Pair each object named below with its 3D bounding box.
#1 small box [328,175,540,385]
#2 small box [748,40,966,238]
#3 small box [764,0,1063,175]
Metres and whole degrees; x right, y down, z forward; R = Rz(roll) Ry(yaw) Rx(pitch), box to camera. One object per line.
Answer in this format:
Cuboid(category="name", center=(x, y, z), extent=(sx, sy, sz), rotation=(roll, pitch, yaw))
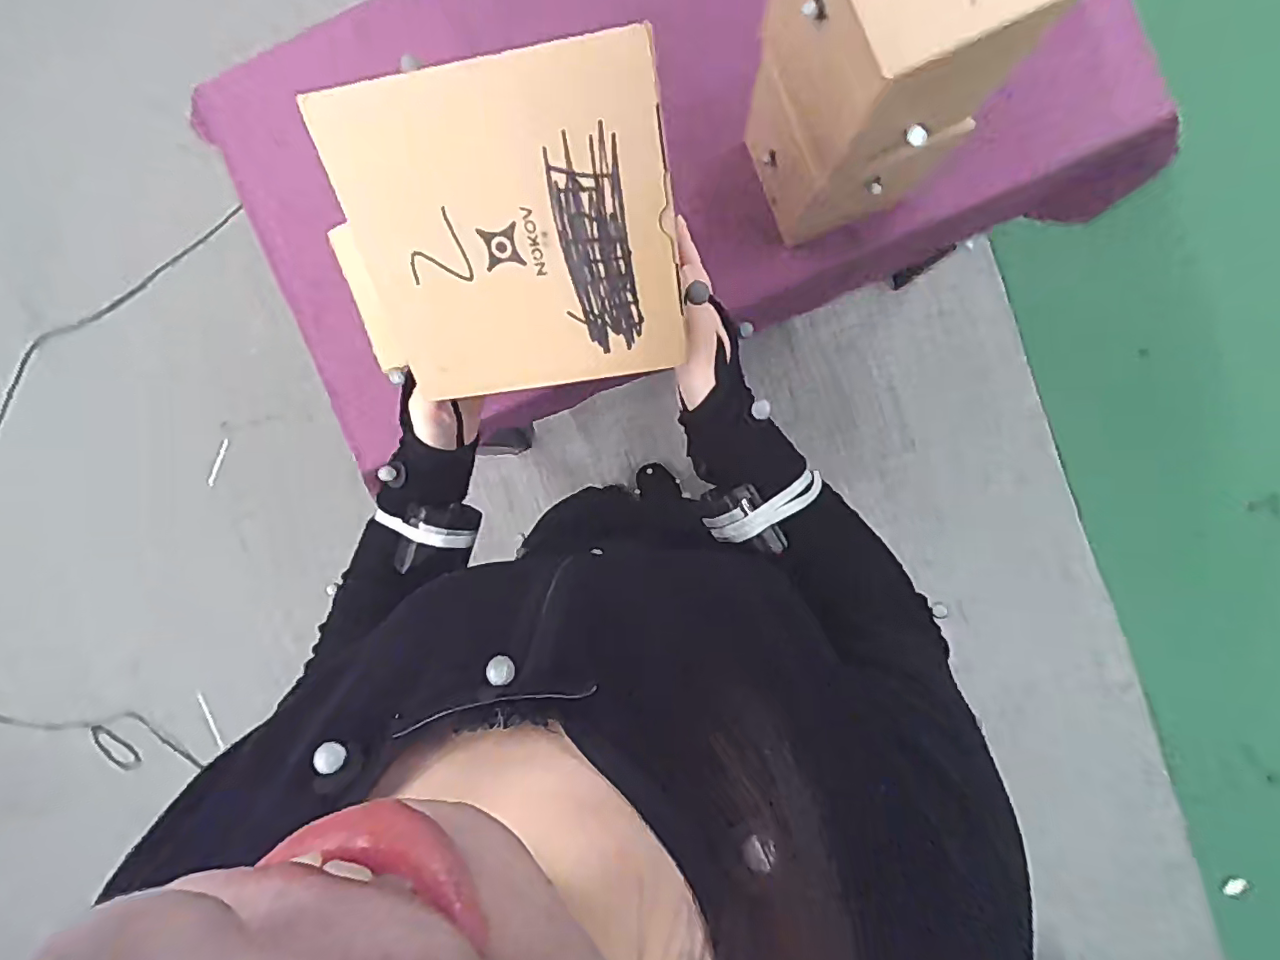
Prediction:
Cuboid(category="small box", center=(-0.246, -0.238, 0.689), extent=(0.168, 0.176, 0.179), rotation=(-21, 92, 4))
Cuboid(category="small box", center=(0.239, -0.424, 0.650), extent=(0.179, 0.176, 0.168), rotation=(-21, 92, 4))
Cuboid(category="small box", center=(0.227, -0.424, 0.486), extent=(0.168, 0.176, 0.179), rotation=(-24, 91, 5))
